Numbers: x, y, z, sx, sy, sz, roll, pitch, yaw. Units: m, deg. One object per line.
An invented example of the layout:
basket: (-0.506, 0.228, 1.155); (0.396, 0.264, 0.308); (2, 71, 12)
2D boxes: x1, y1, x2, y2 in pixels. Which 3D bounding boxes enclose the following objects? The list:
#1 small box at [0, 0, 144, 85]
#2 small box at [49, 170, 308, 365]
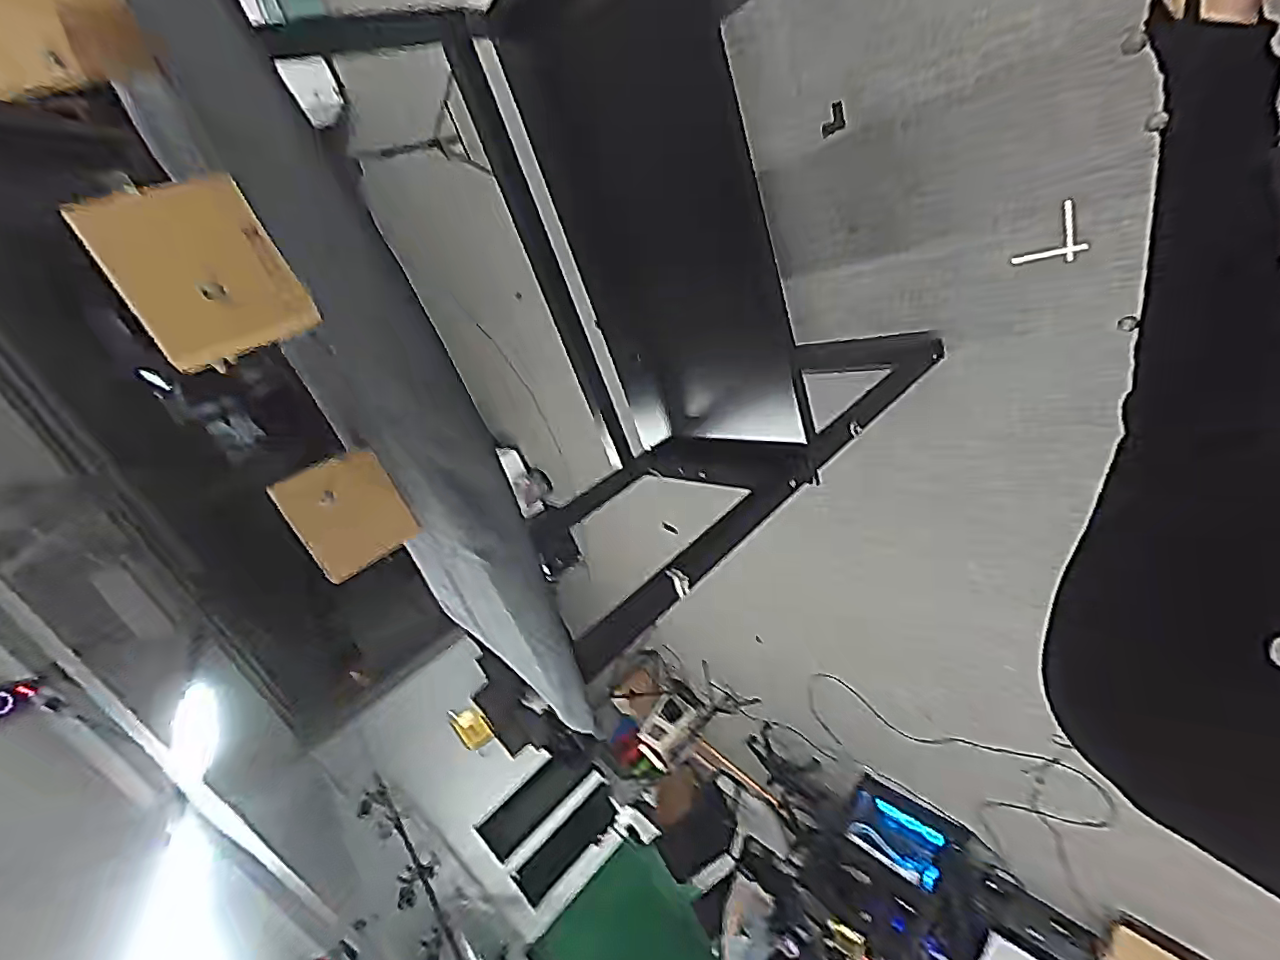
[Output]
small box: (-0.634, -0.519, 0.519); (0.179, 0.176, 0.168); (17, 134, 52)
small box: (-0.540, -0.254, 0.663); (0.179, 0.176, 0.168); (12, 130, 53)
